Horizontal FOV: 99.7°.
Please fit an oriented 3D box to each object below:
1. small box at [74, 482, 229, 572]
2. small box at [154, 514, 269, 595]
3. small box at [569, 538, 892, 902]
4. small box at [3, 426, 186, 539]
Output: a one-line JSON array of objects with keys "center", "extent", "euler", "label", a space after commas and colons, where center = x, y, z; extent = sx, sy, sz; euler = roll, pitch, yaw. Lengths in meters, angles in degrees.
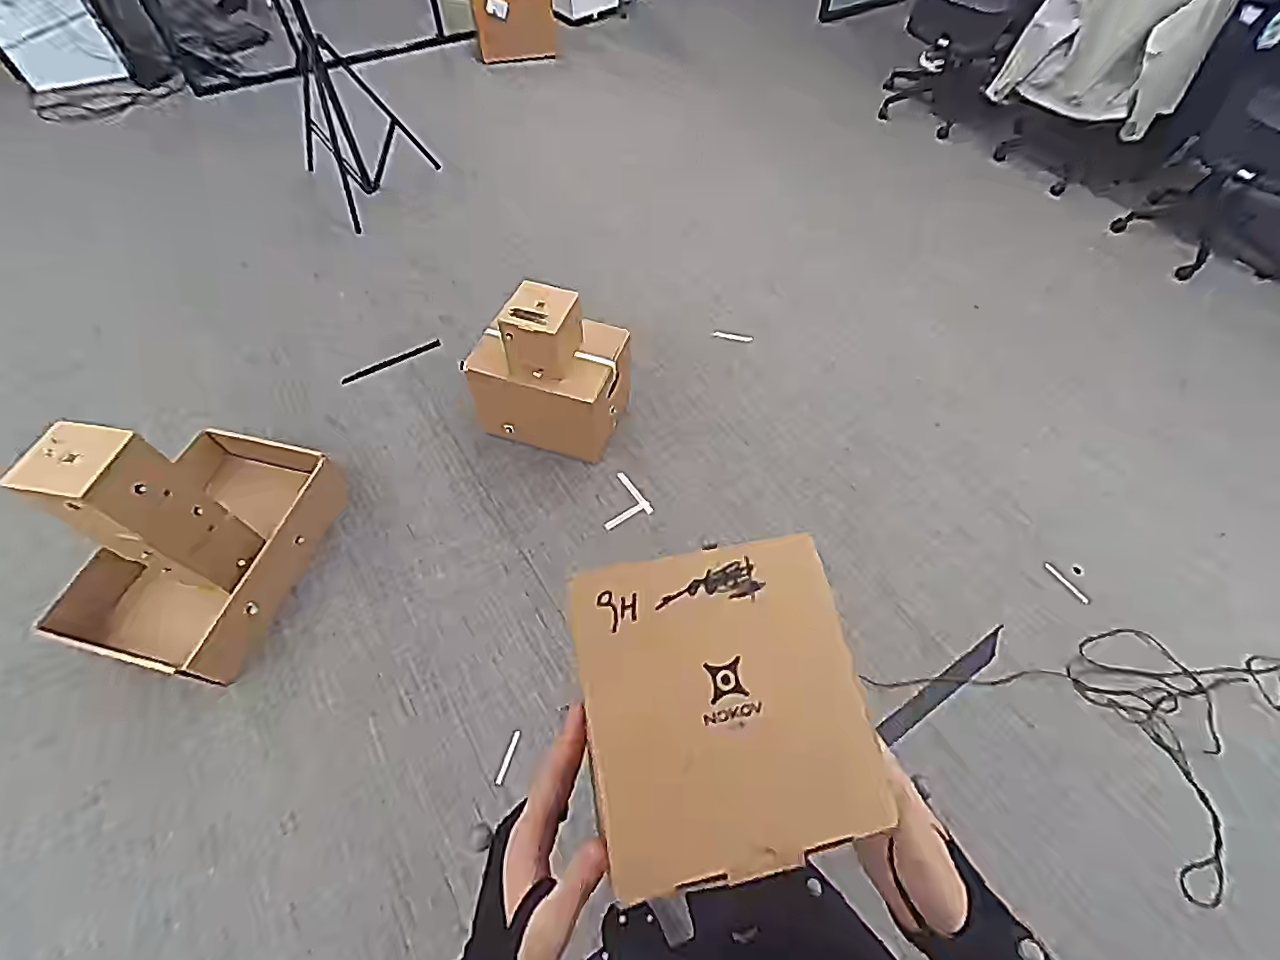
[{"center": [-1.139, 0.104, 1.282], "extent": [0.179, 0.176, 0.168], "euler": [8, 57, 4], "label": "small box"}, {"center": [-1.140, 0.186, 1.422], "extent": [0.179, 0.176, 0.168], "euler": [12, 58, 5], "label": "small box"}, {"center": [0.041, 0.155, 0.395], "extent": [0.168, 0.176, 0.179], "euler": [-8, 72, -11], "label": "small box"}, {"center": [-1.133, 0.011, 1.145], "extent": [0.179, 0.176, 0.168], "euler": [8, 56, 3], "label": "small box"}]
